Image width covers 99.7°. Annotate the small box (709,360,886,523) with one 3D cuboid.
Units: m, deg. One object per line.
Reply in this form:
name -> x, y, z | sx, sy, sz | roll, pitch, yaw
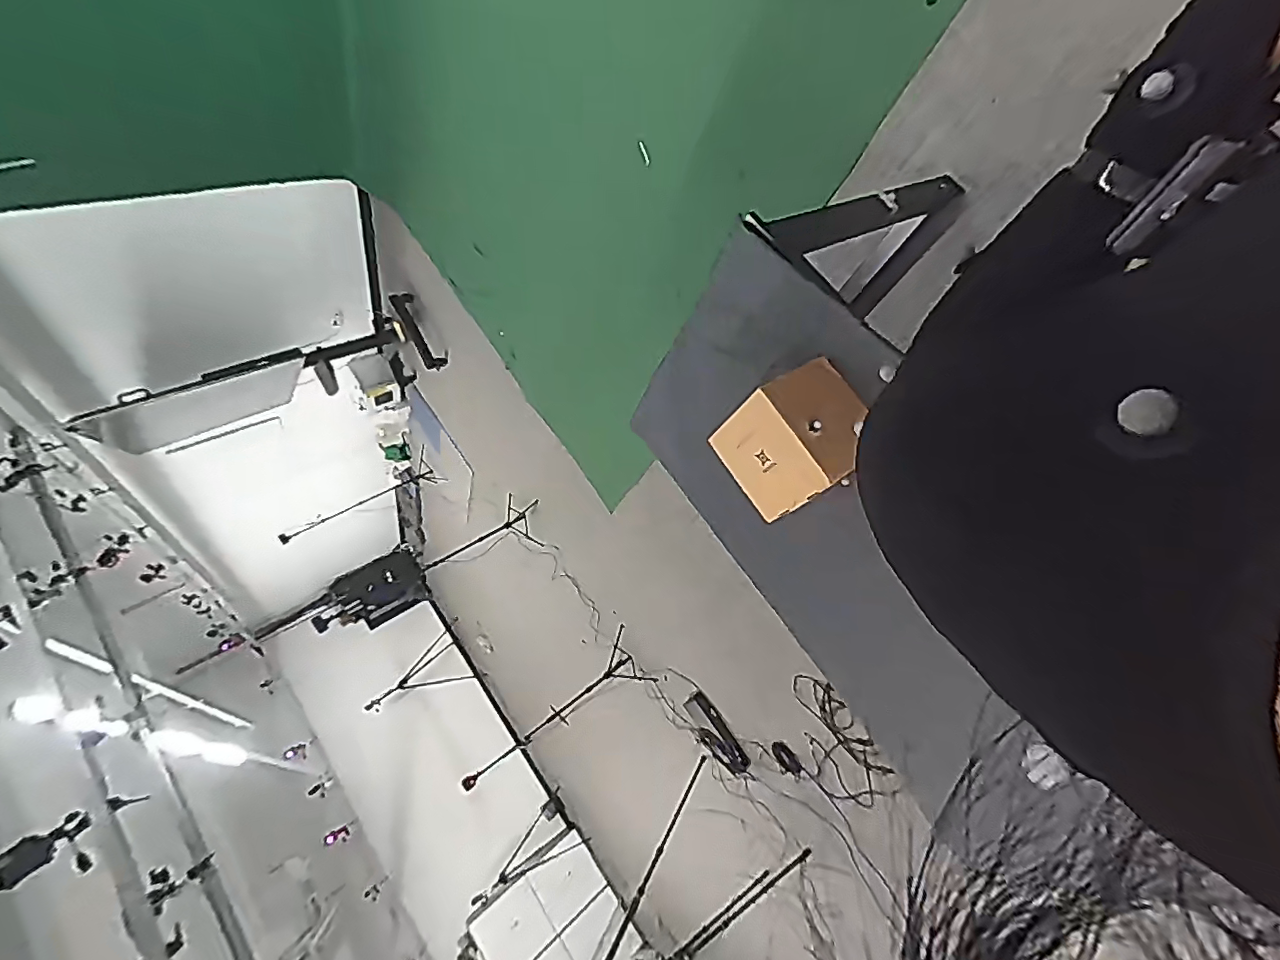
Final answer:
small box -> 0.252, -0.064, 0.866 | 0.179, 0.176, 0.168 | 56, 148, 10
